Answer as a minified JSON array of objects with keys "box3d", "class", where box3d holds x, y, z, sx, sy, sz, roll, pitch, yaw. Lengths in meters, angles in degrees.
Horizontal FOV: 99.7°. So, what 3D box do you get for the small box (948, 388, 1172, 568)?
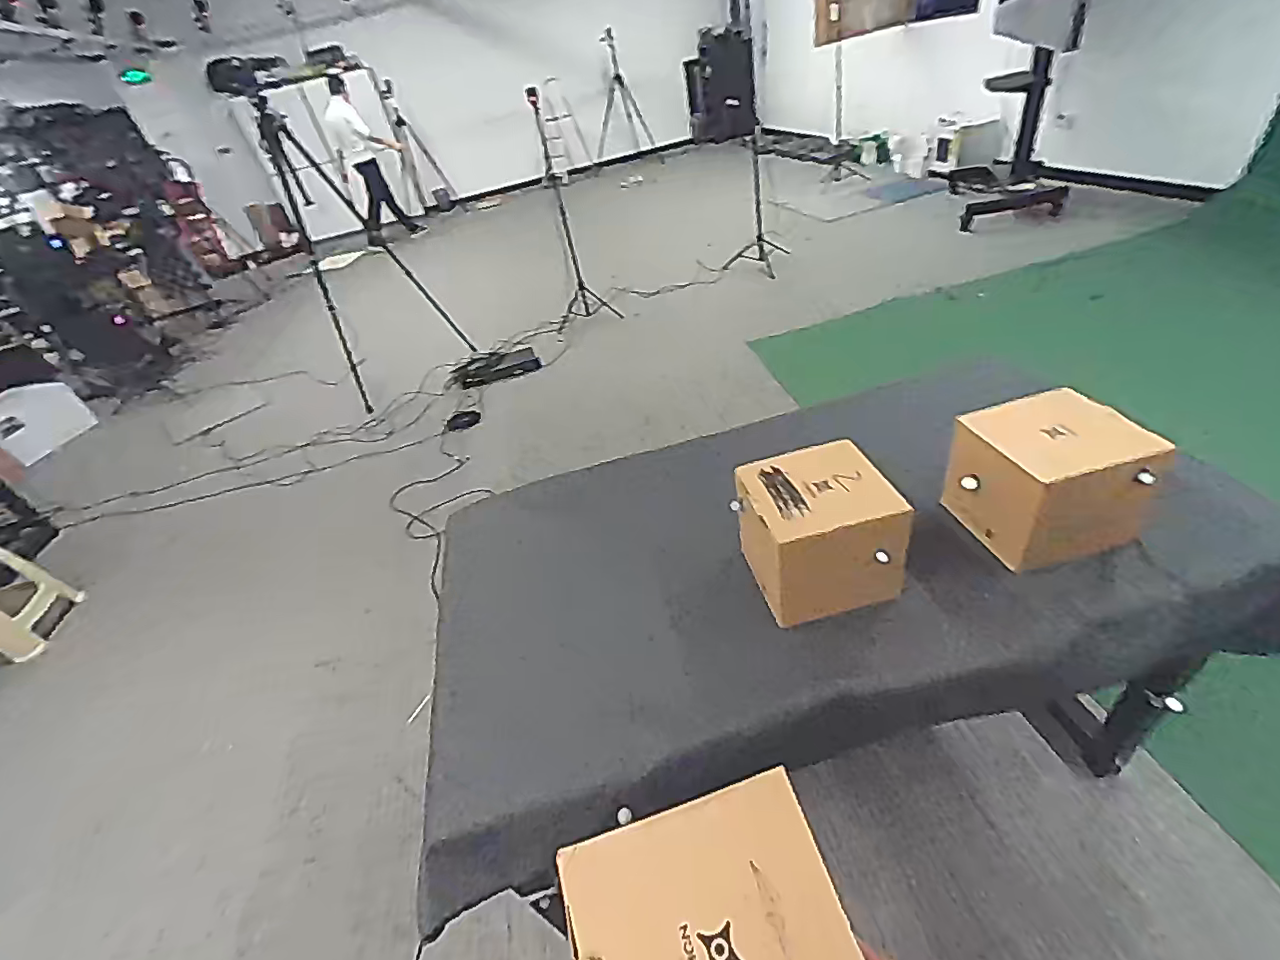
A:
[{"box3d":[0.563,-0.002,0.759,0.179,0.176,0.168,-15,37,-2],"class":"small box"}]
